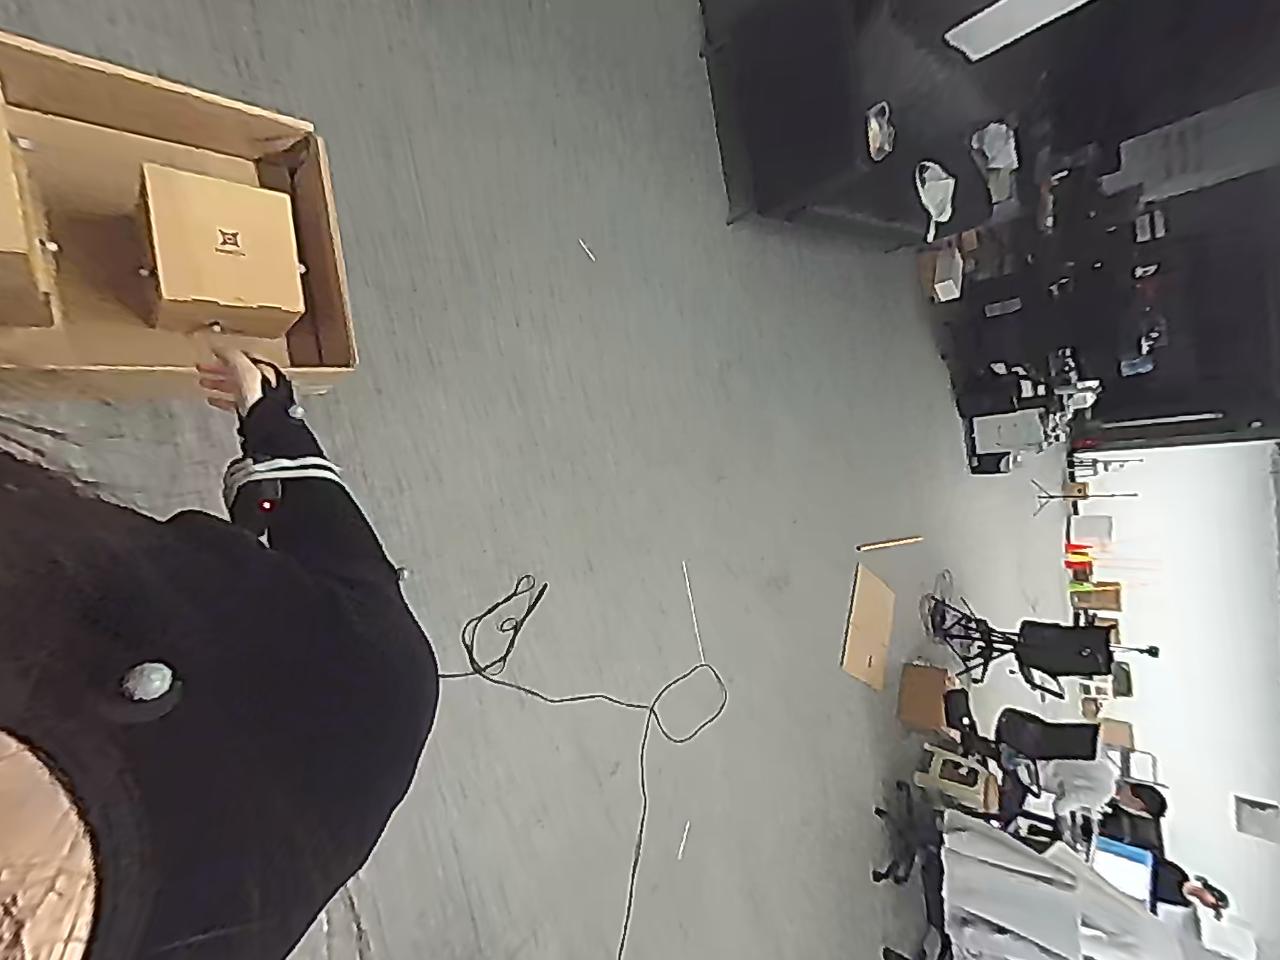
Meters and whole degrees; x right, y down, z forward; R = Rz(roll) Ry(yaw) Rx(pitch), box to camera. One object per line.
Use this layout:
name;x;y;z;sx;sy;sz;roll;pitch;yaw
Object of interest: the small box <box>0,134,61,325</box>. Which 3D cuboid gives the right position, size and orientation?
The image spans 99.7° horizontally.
small box;-0.808;-0.292;0.626;0.168;0.176;0.179;-12;97;-44
